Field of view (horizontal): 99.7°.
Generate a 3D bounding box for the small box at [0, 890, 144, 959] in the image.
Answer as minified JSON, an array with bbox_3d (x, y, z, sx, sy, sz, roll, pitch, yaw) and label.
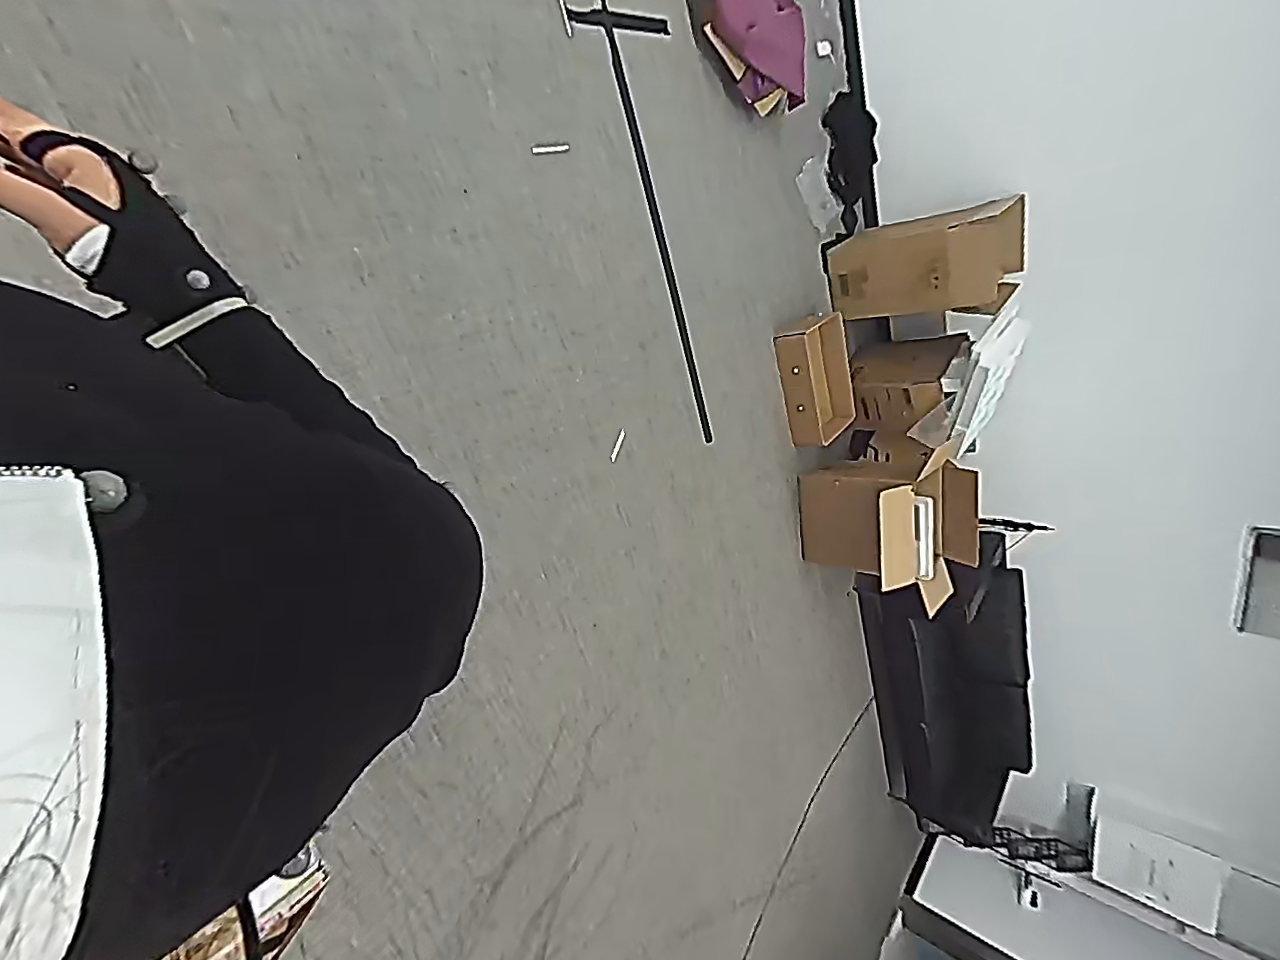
[{"bbox_3d":[-0.783,0.694,0.692,0.179,0.176,0.168,-35,117,-35],"label":"small box"}]
